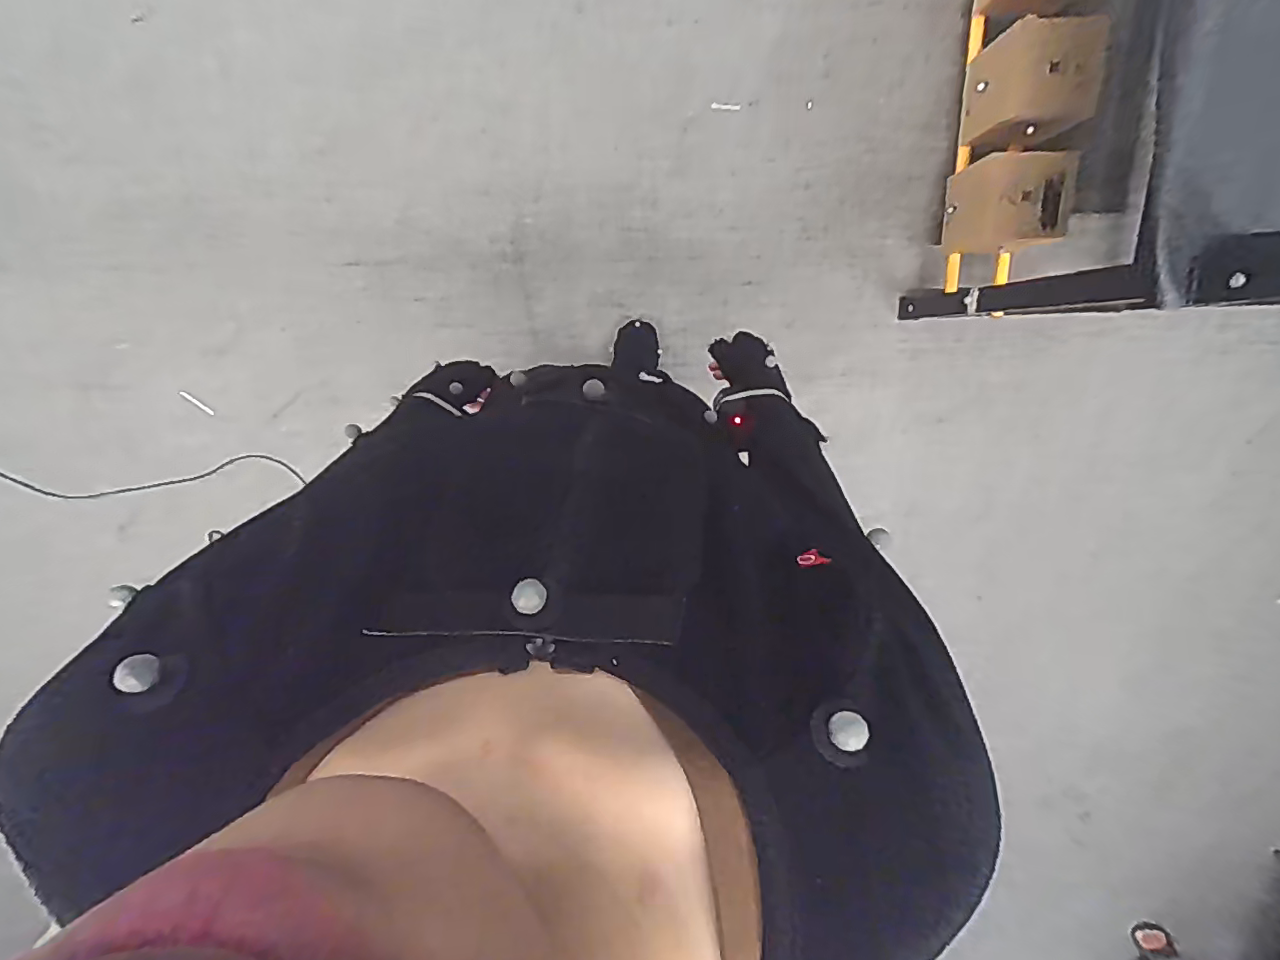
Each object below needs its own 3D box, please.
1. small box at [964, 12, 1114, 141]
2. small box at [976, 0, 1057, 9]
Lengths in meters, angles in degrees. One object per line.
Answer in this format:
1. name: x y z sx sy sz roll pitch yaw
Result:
1. small box: 0.800 -0.813 1.106 0.179 0.176 0.168 -2 106 0
2. small box: 0.789 -1.051 1.044 0.179 0.176 0.168 0 106 0
